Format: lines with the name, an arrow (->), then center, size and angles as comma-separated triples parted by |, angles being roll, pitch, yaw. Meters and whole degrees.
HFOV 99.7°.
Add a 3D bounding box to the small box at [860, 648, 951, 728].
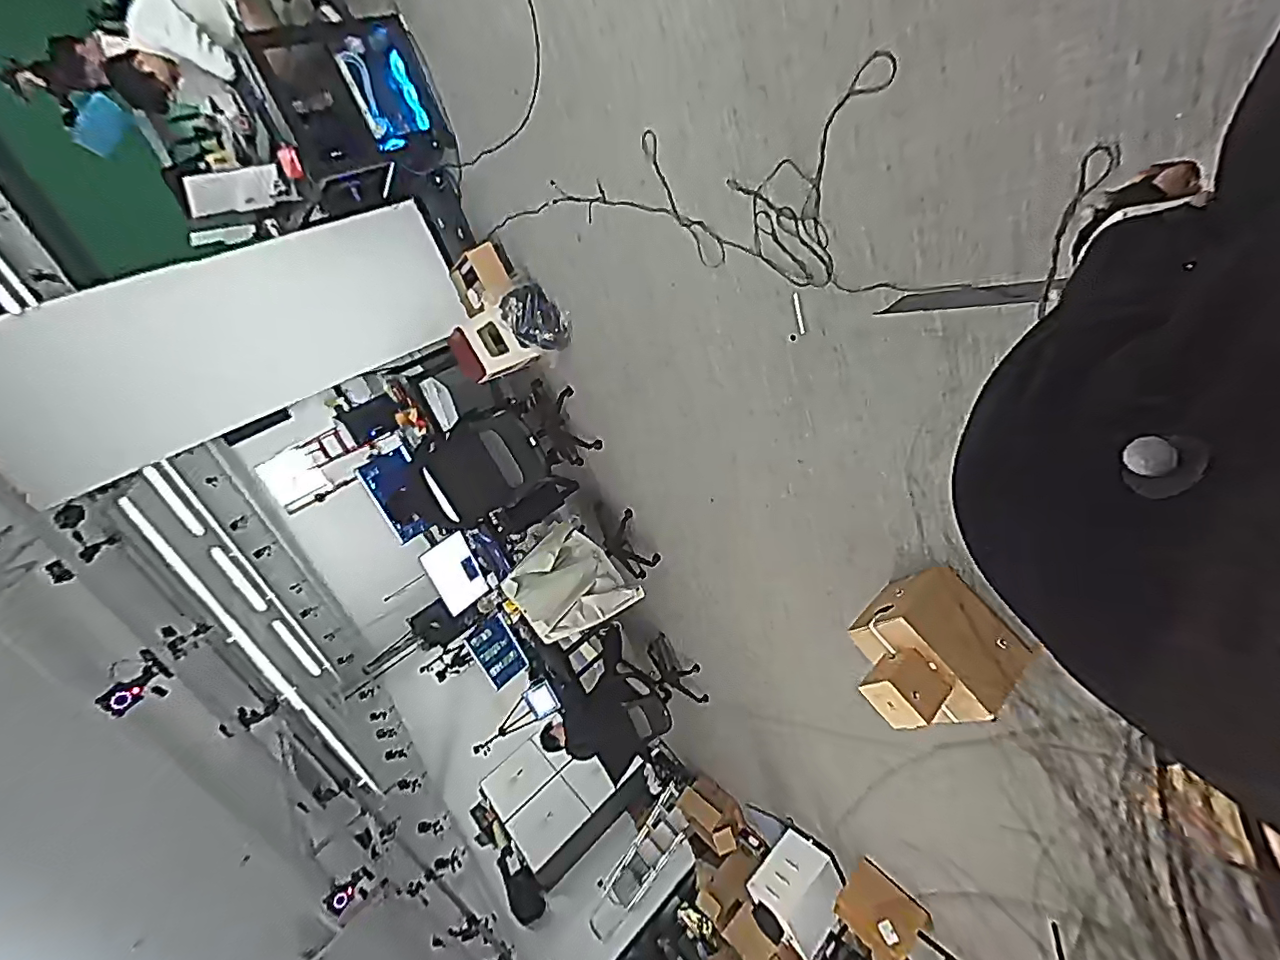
small box -> 0.875, 0.684, 1.779 | 0.179, 0.176, 0.168 | 49, 151, 13
